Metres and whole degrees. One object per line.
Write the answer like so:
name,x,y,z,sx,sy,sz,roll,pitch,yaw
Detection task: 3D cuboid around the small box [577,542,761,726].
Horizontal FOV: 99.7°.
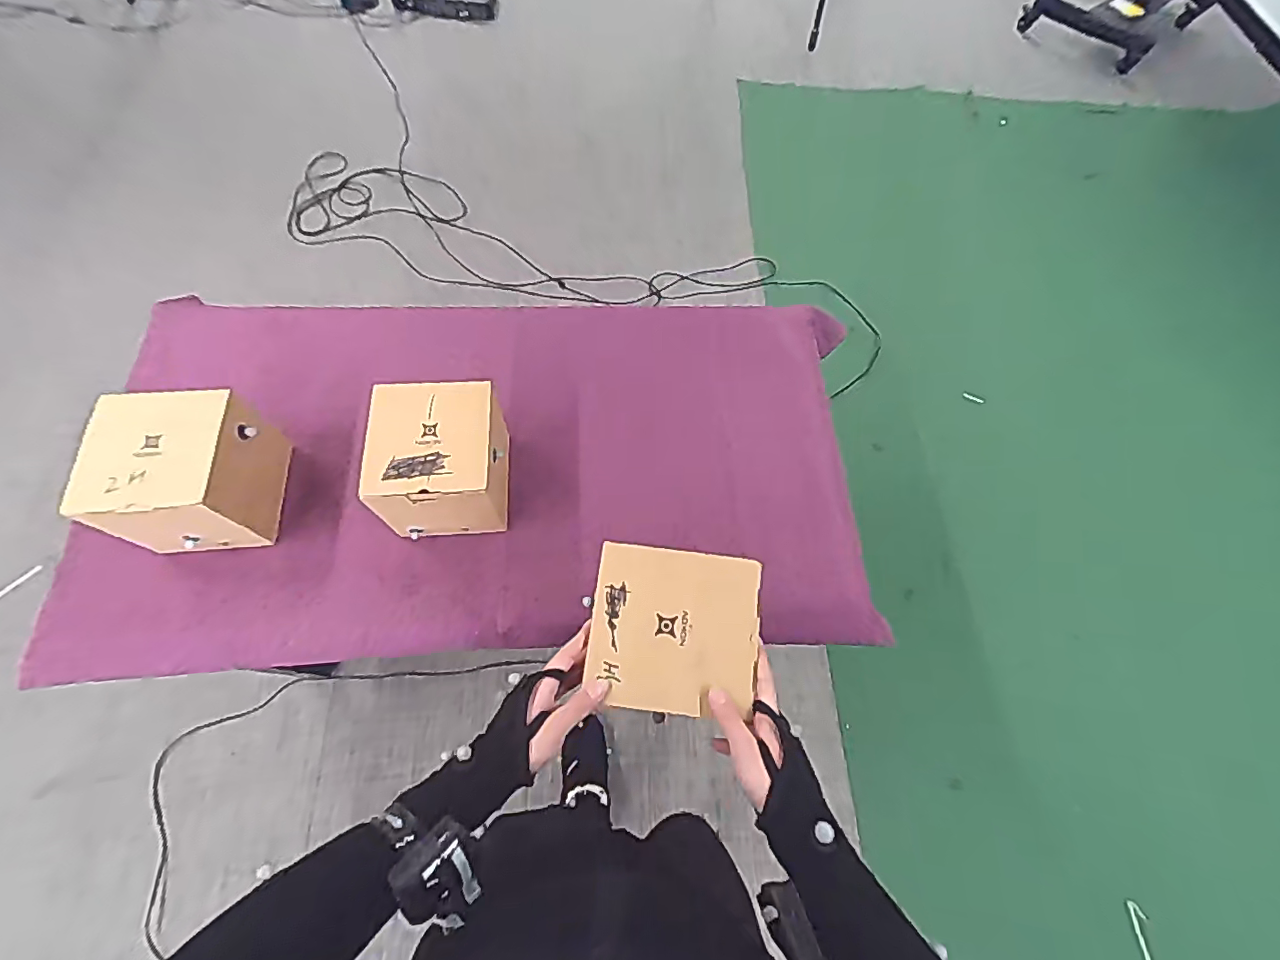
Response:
small box,0.032,0.182,0.635,0.179,0.176,0.168,8,69,2

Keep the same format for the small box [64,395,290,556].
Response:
small box,-0.639,-0.002,0.777,0.168,0.176,0.179,-4,66,-6

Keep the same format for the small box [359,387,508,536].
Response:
small box,-0.294,-0.019,0.811,0.168,0.176,0.179,-2,65,-5
